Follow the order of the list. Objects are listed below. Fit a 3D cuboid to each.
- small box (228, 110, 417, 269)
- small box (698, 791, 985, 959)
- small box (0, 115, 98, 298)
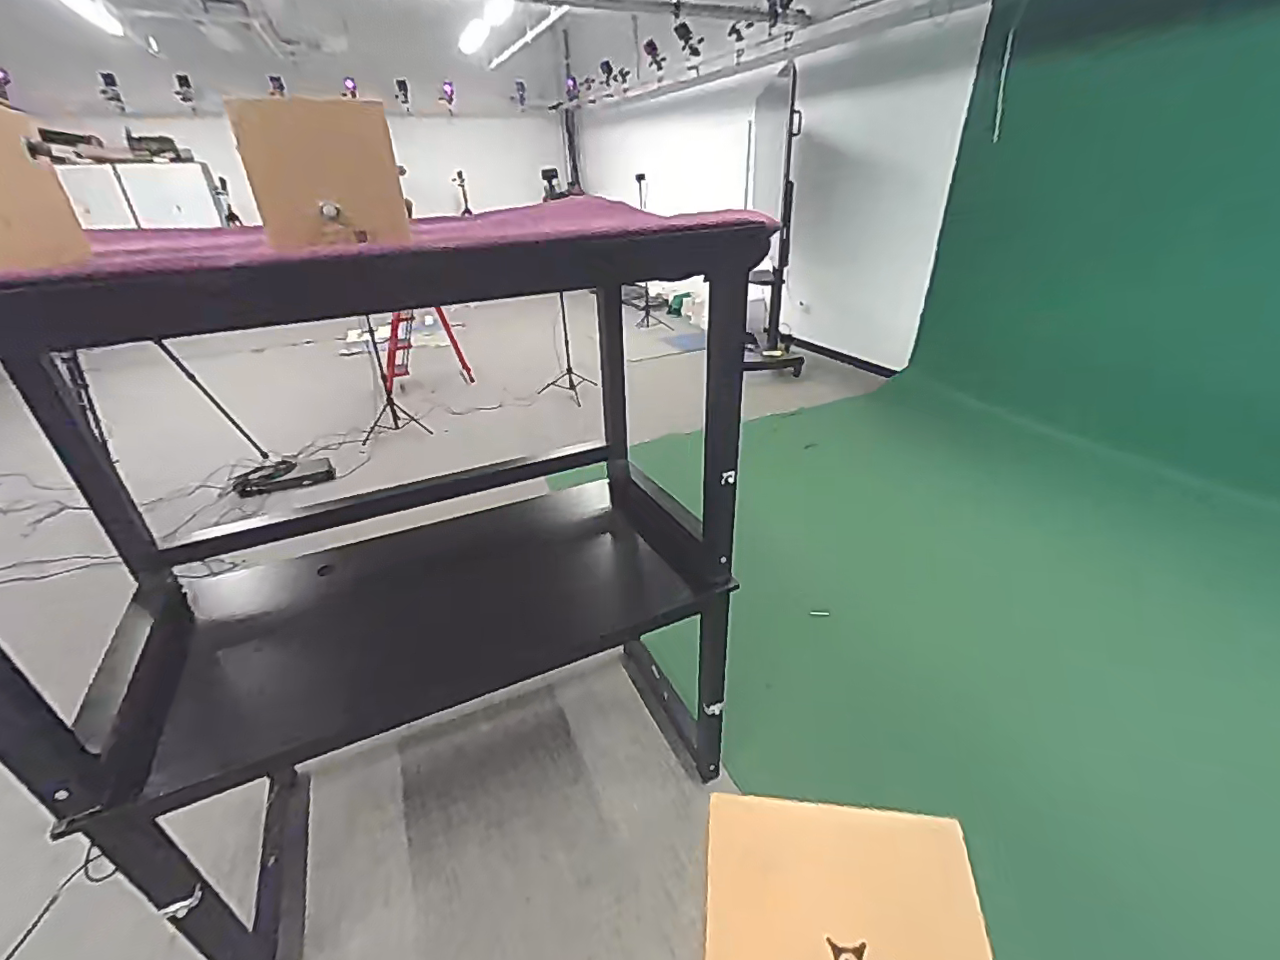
[{"bbox_3d":[-0.406,-0.383,0.720,0.168,0.176,0.179,-14,33,-20],"label":"small box"},{"bbox_3d":[0.125,0.344,0.377,0.168,0.176,0.179,2,47,7],"label":"small box"},{"bbox_3d":[-0.736,-0.288,0.572,0.168,0.176,0.179,-15,31,-21],"label":"small box"}]
